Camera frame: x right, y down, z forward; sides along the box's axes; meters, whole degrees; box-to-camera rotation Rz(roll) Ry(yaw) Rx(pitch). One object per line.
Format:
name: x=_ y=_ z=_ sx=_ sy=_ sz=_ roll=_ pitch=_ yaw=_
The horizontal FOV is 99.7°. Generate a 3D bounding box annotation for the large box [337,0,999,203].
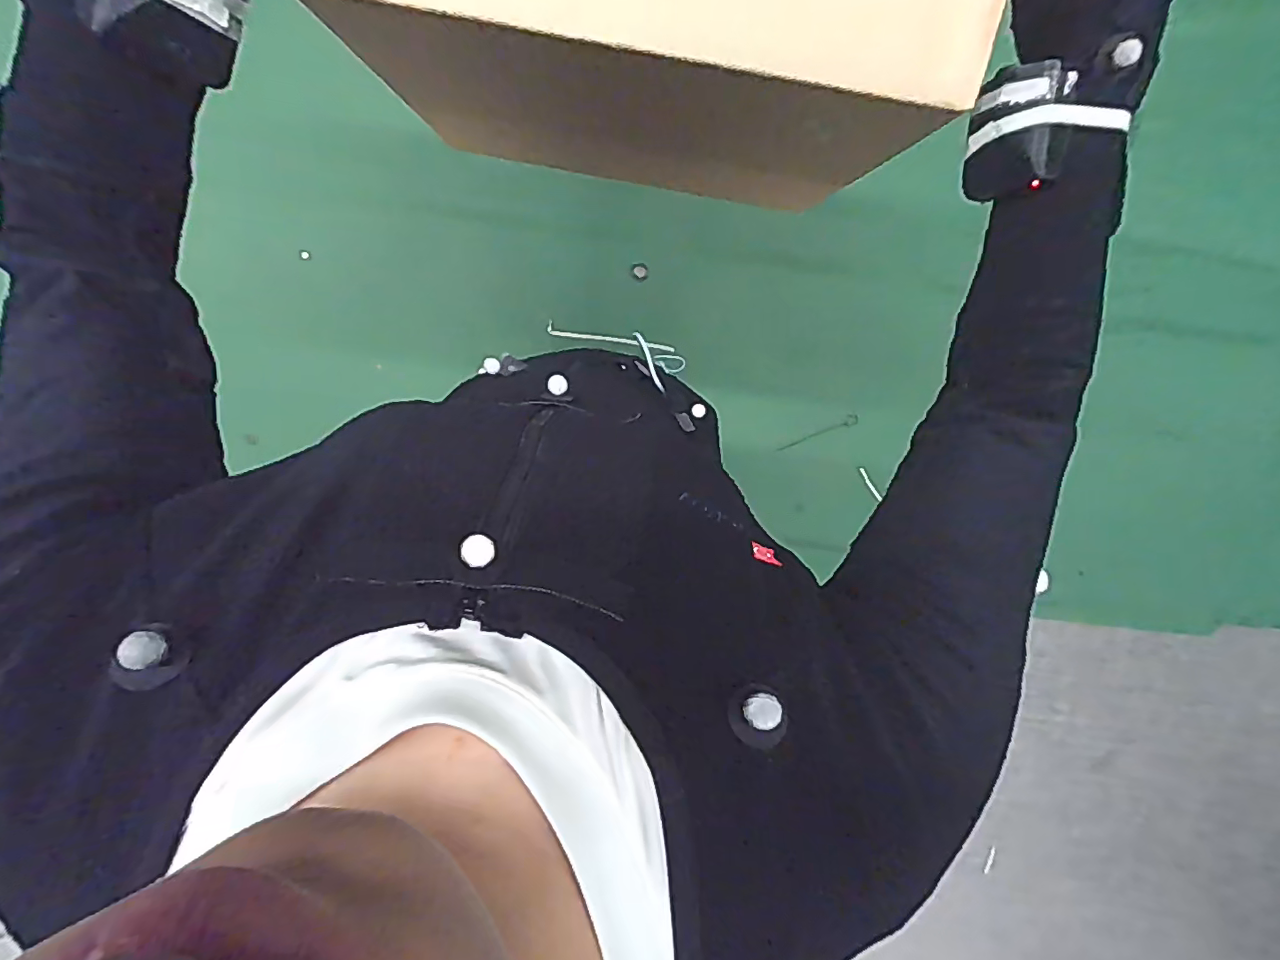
large box: x=0.021 y=-0.442 z=0.418 sx=0.408 sy=0.320 sz=0.320 roll=8 pitch=106 yaw=-5
